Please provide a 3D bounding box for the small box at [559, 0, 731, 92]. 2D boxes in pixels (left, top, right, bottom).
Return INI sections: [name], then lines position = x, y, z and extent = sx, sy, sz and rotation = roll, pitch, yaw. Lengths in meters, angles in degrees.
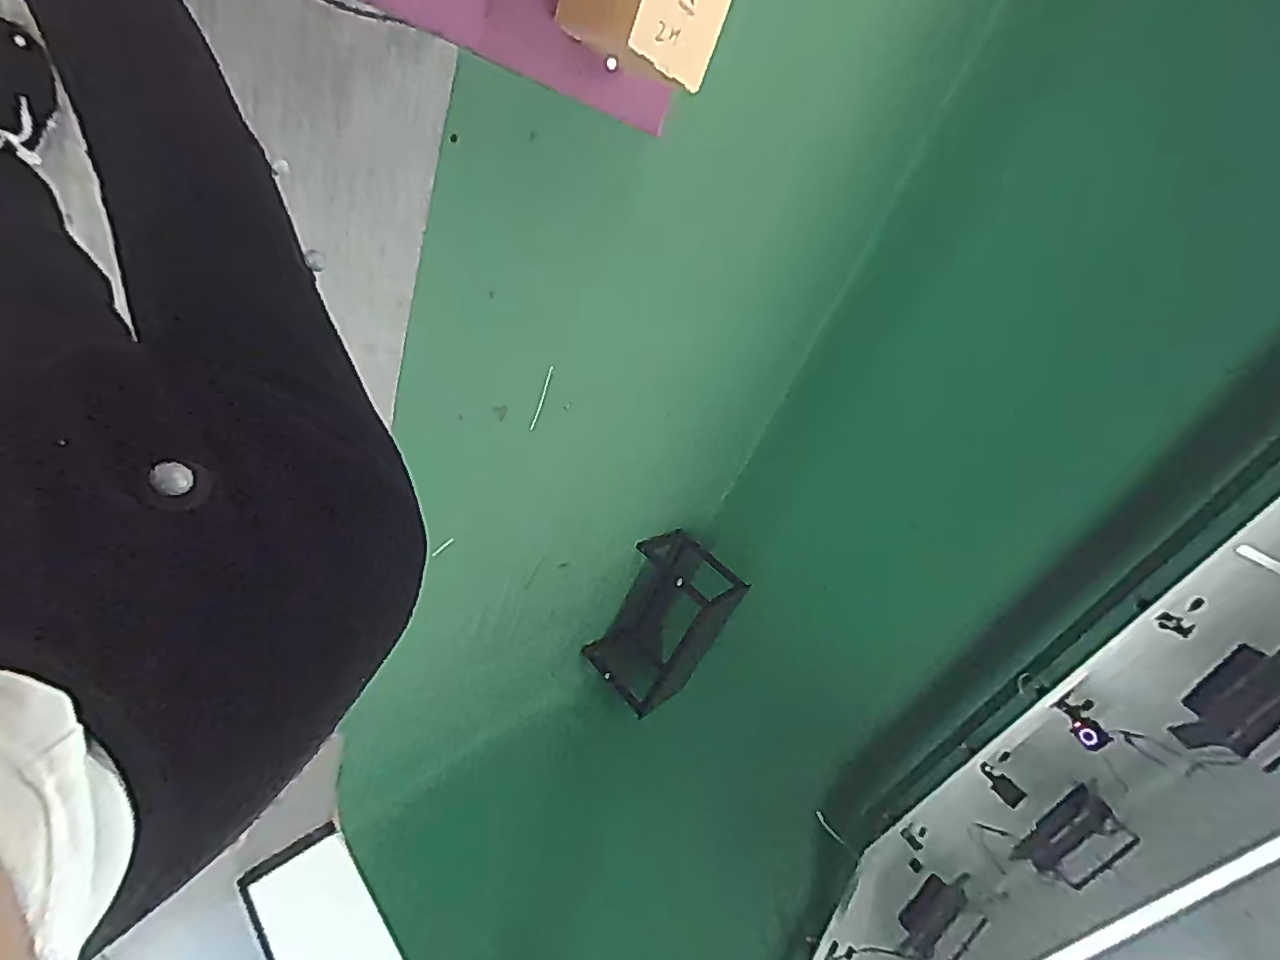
[small box]
position = 0.011, -0.698, 0.763
extent = 0.168, 0.176, 0.179
rotation = -11, 134, -49
